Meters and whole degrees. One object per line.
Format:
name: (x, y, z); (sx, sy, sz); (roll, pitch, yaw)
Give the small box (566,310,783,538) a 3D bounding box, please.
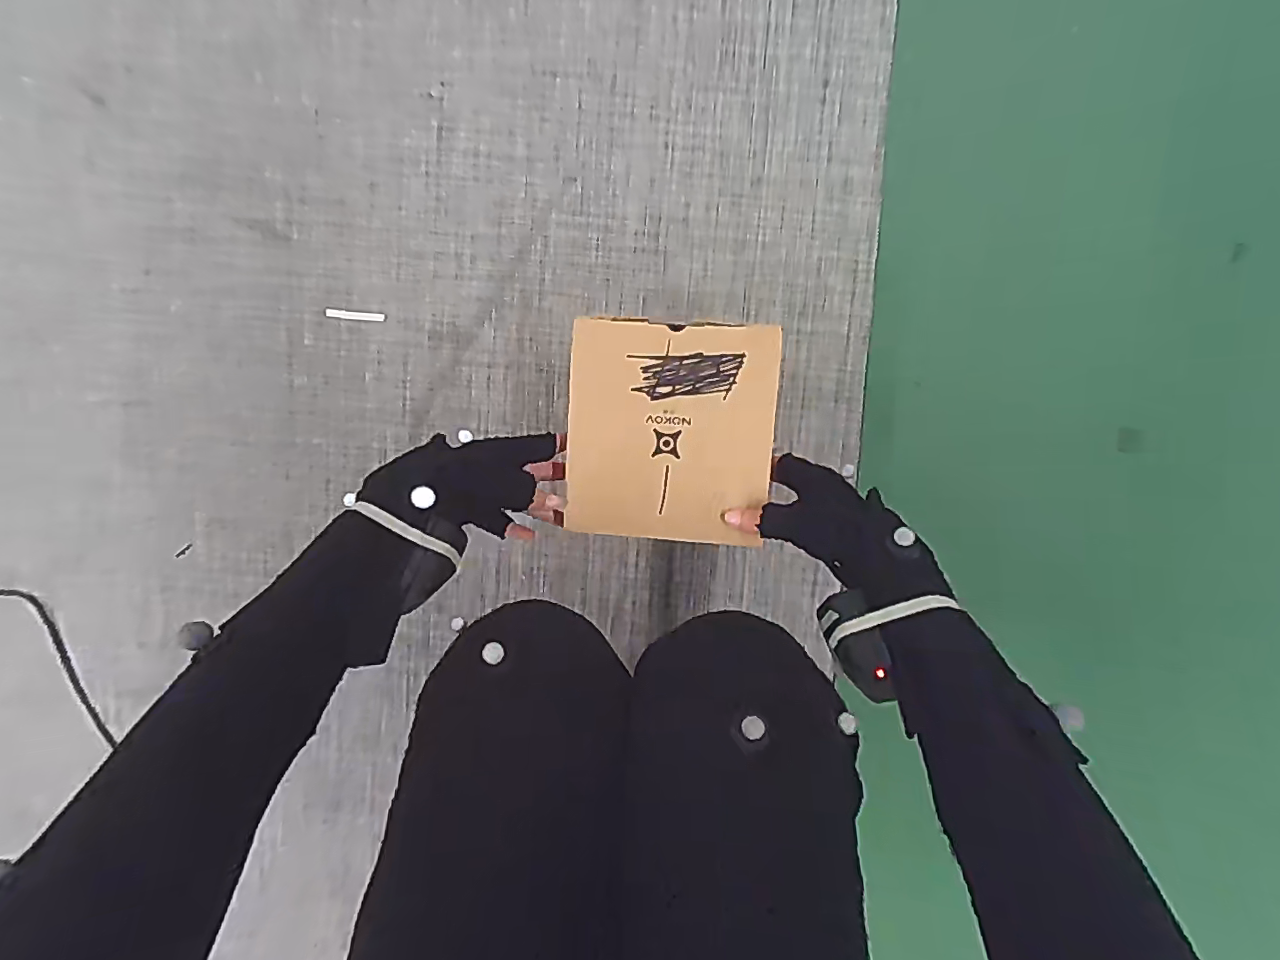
small box: (0.031, -0.052, 0.516); (0.168, 0.176, 0.179); (4, 96, 5)
